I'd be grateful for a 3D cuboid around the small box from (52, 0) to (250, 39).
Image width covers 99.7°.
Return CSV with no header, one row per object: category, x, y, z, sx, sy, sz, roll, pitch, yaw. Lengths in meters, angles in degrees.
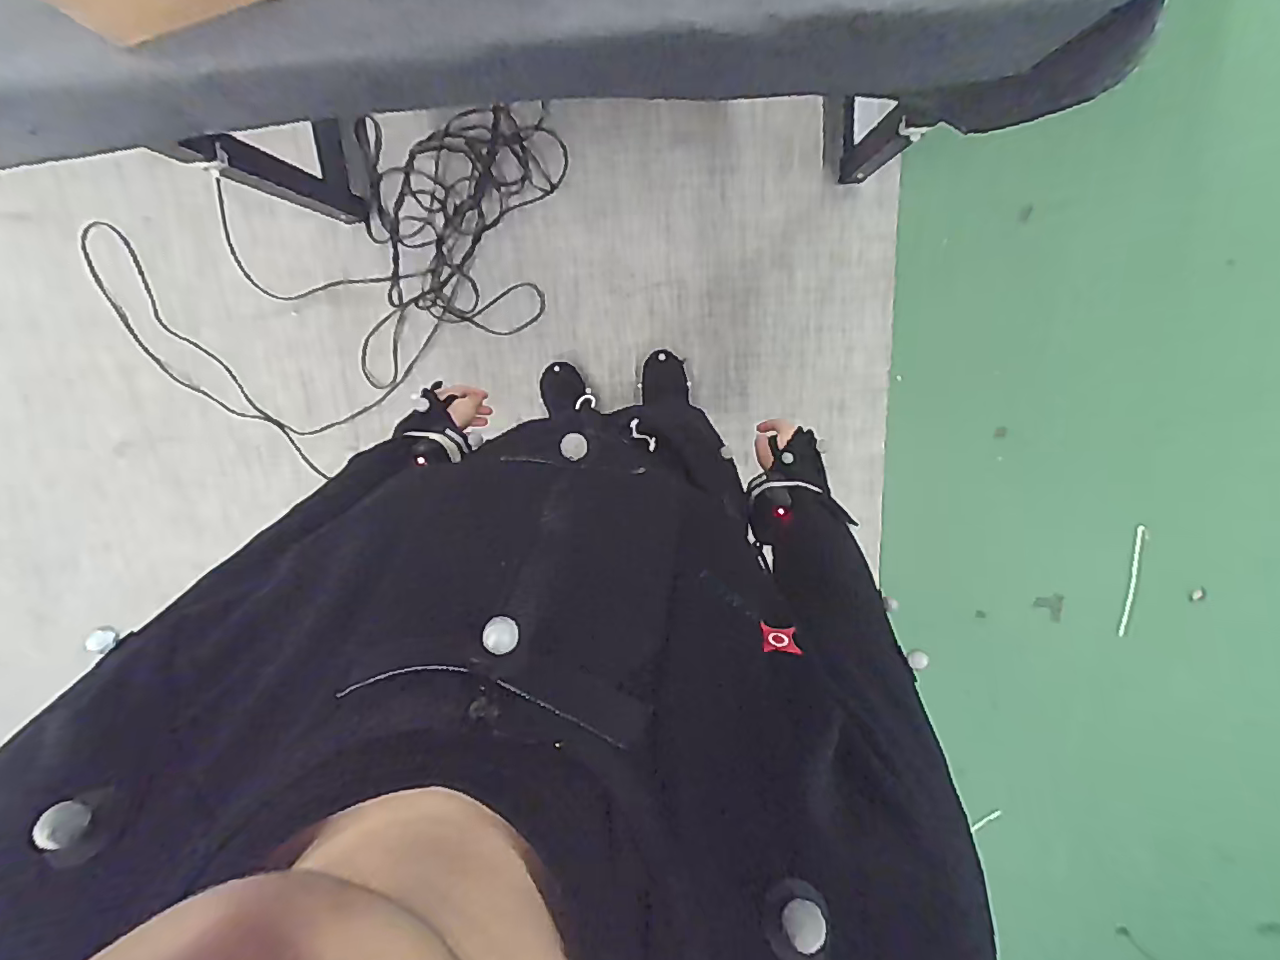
small box,-0.440,-0.500,0.423,0.179,0.176,0.168,-14,103,4
